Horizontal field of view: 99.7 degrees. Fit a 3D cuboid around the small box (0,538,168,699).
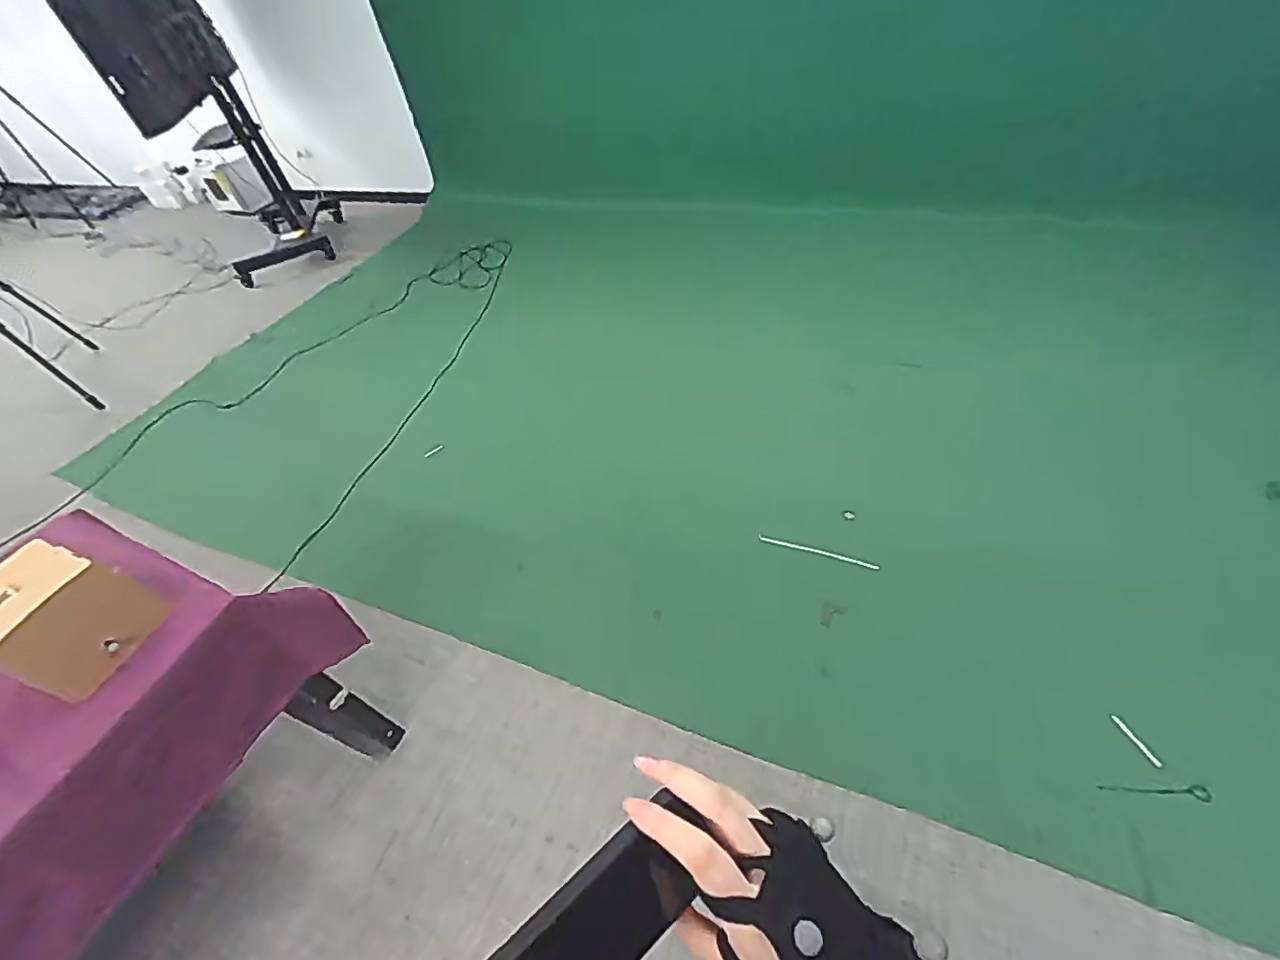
[{"bbox_3d":[-0.942,0.228,0.892,0.168,0.176,0.179,12,52,21],"label":"small box"}]
